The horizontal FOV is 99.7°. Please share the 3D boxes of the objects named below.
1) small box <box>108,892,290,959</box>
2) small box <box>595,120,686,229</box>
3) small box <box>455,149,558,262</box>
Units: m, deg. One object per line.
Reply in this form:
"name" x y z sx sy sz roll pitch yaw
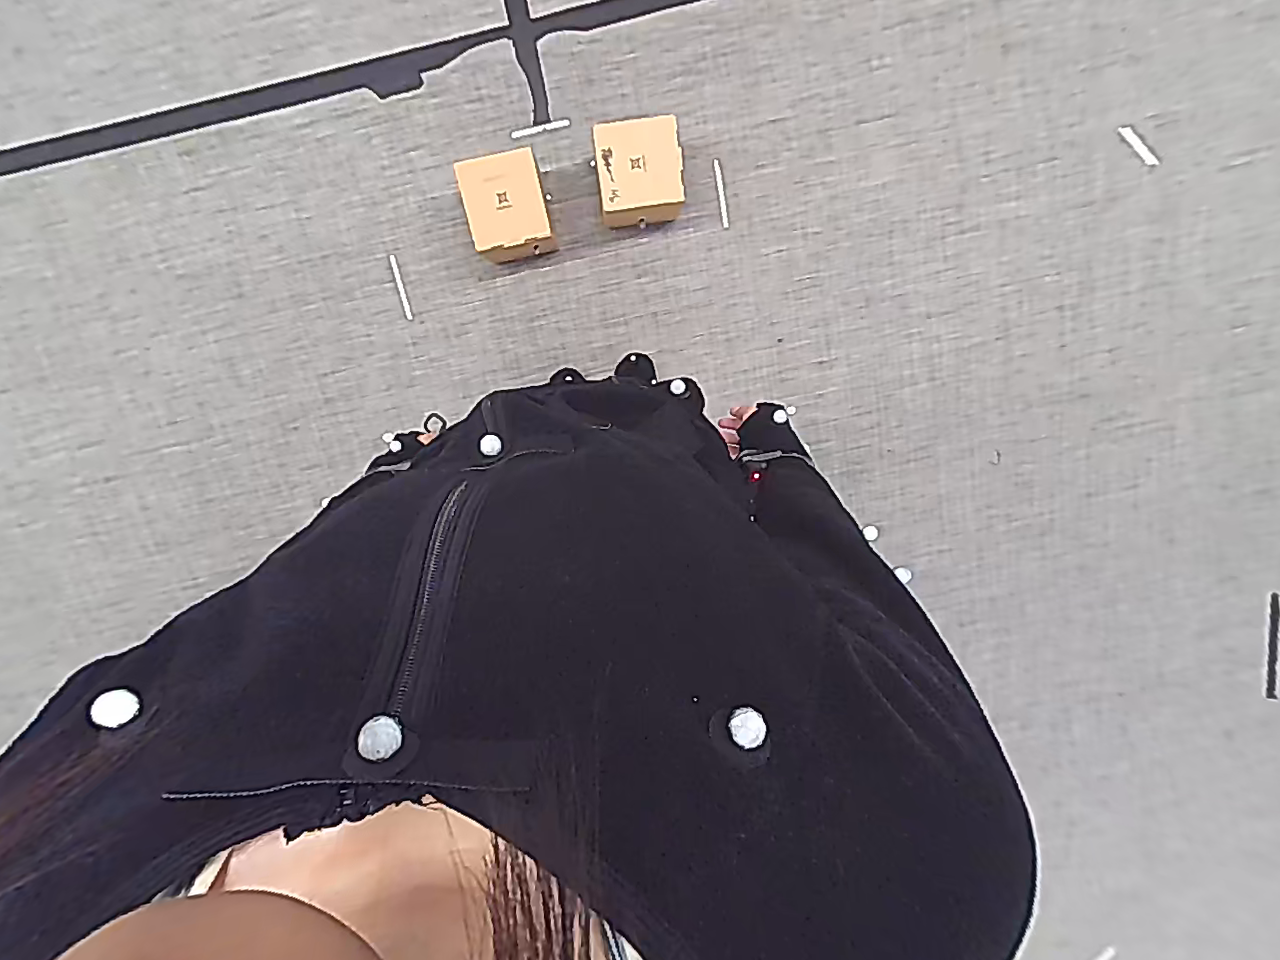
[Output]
"small box" -0.633 0.717 0.742 0.179 0.176 0.168 -12 105 0
"small box" -0.003 -0.666 1.195 0.179 0.176 0.168 -8 104 -2
"small box" -0.286 -0.594 1.198 0.168 0.176 0.179 -13 103 -1
